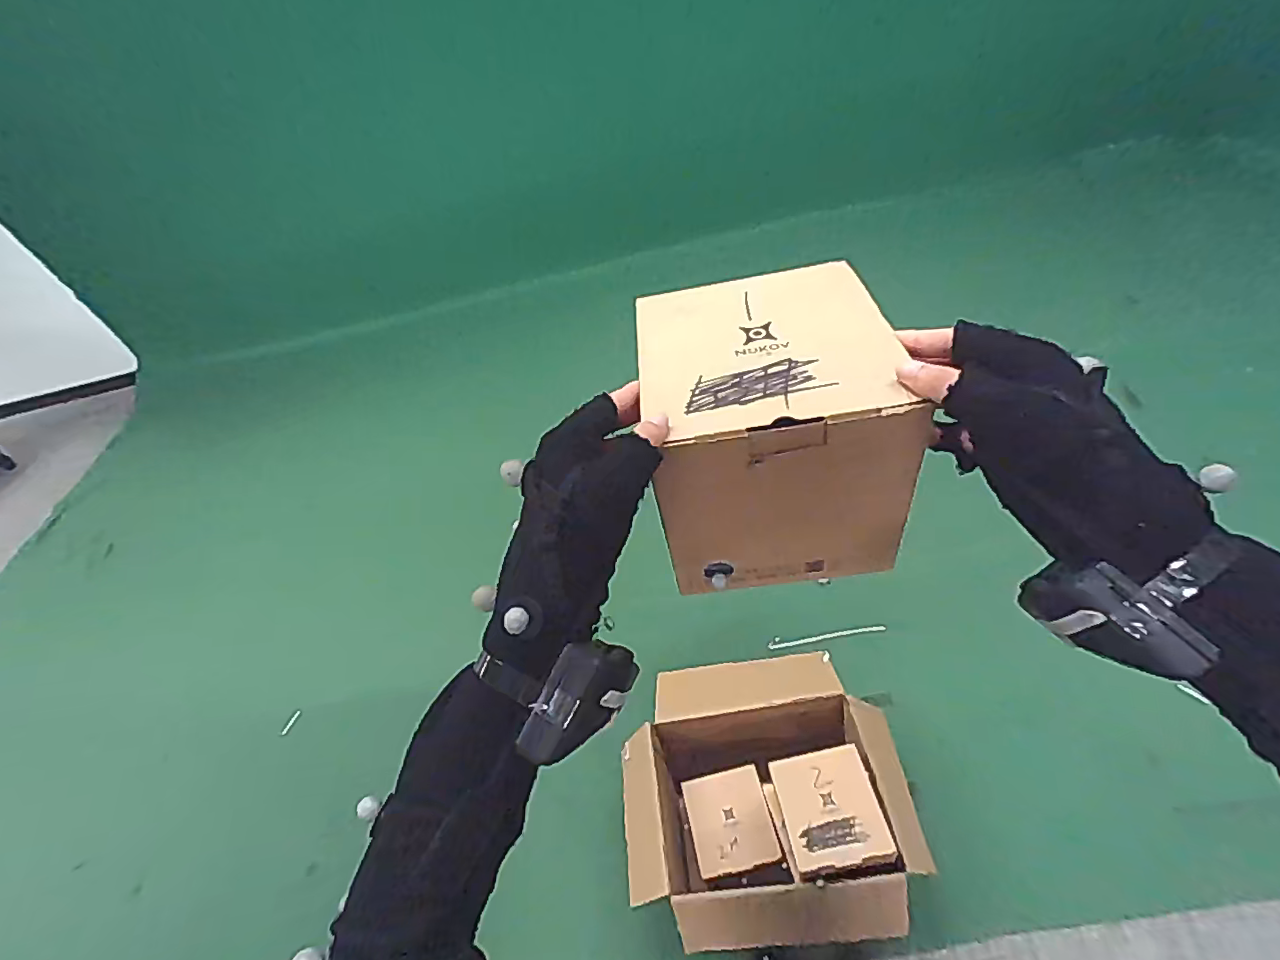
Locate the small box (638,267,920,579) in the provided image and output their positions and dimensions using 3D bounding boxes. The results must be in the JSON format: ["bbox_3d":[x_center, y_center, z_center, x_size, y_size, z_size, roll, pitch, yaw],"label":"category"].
[{"bbox_3d":[0.095,-0.036,0.427,0.168,0.176,0.179,-9,45,7],"label":"small box"}]
